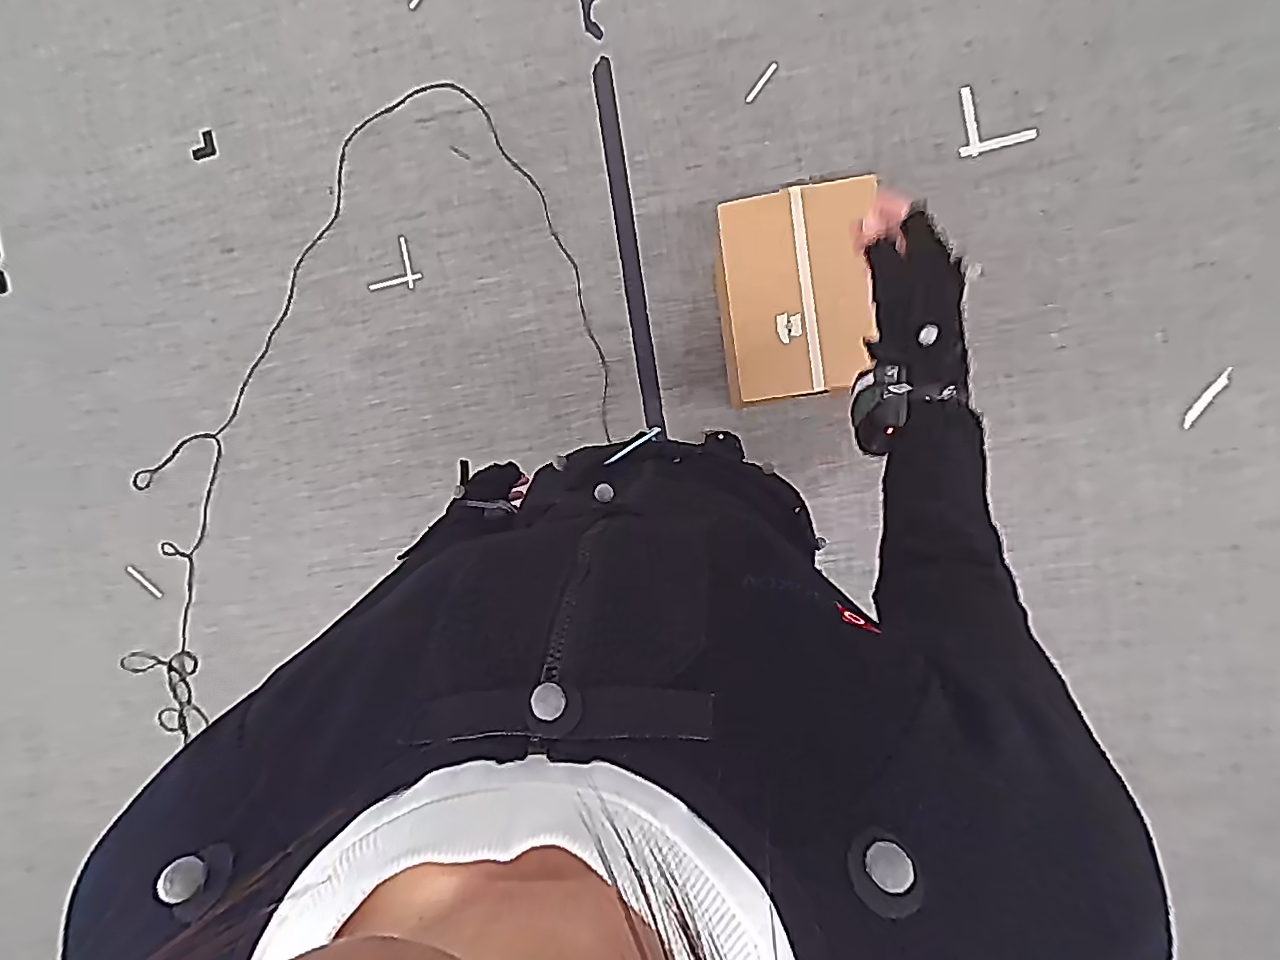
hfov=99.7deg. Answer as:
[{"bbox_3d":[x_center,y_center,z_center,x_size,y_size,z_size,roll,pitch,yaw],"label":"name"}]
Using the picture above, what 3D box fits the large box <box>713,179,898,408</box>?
[{"bbox_3d":[0.353,-0.391,1.240,0.320,0.320,0.408,-8,95,8],"label":"large box"}]
